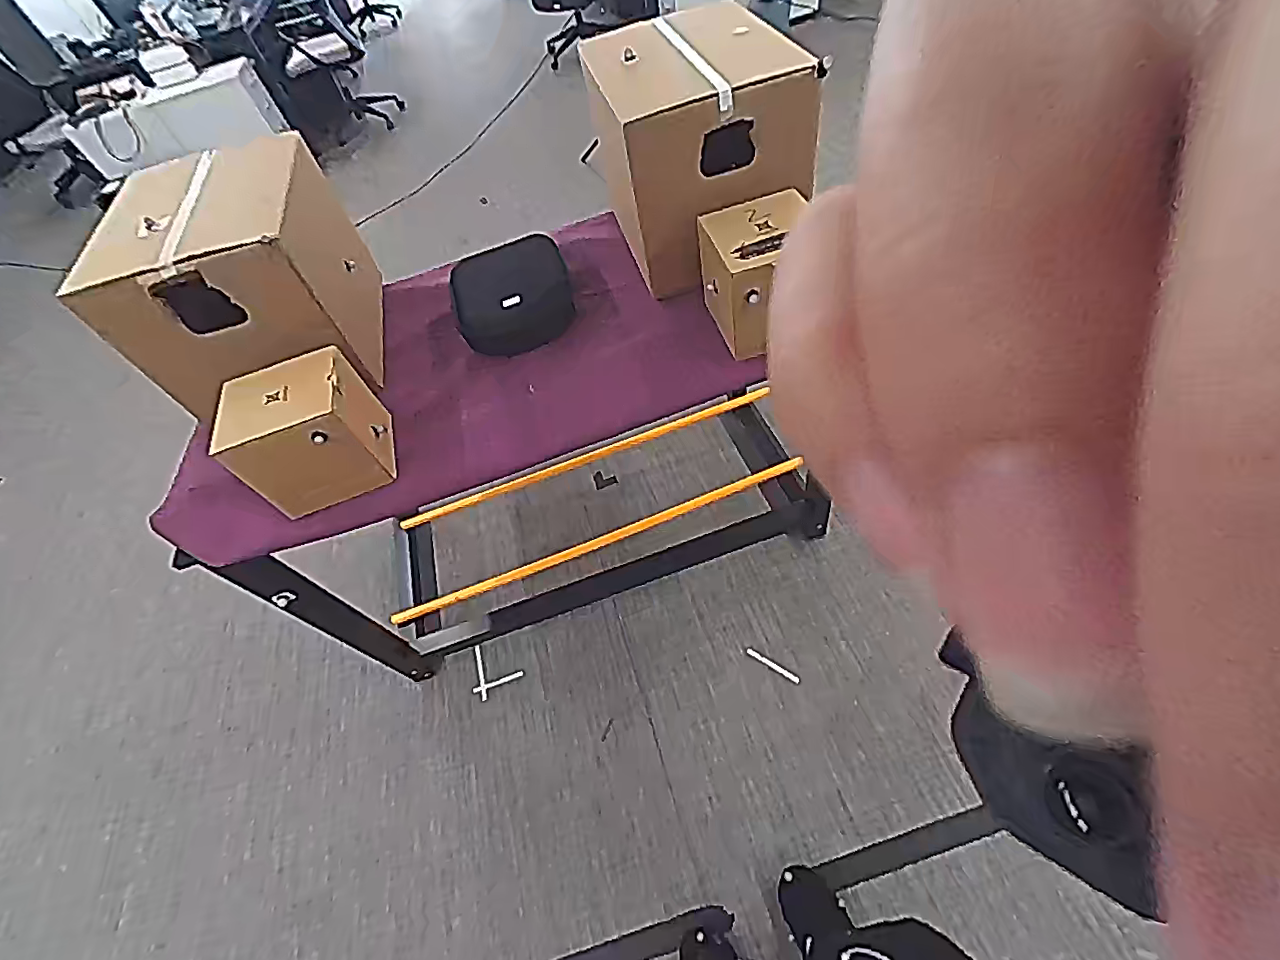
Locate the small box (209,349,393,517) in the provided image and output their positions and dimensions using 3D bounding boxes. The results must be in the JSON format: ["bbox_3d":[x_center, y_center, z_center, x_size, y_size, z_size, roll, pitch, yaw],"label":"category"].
[{"bbox_3d":[-0.519,-0.069,0.852,0.179,0.176,0.168,-22,52,-5],"label":"small box"}]

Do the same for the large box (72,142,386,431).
[{"bbox_3d":[-0.701,-0.350,1.004,0.320,0.320,0.408,-19,55,-4],"label":"large box"}]
